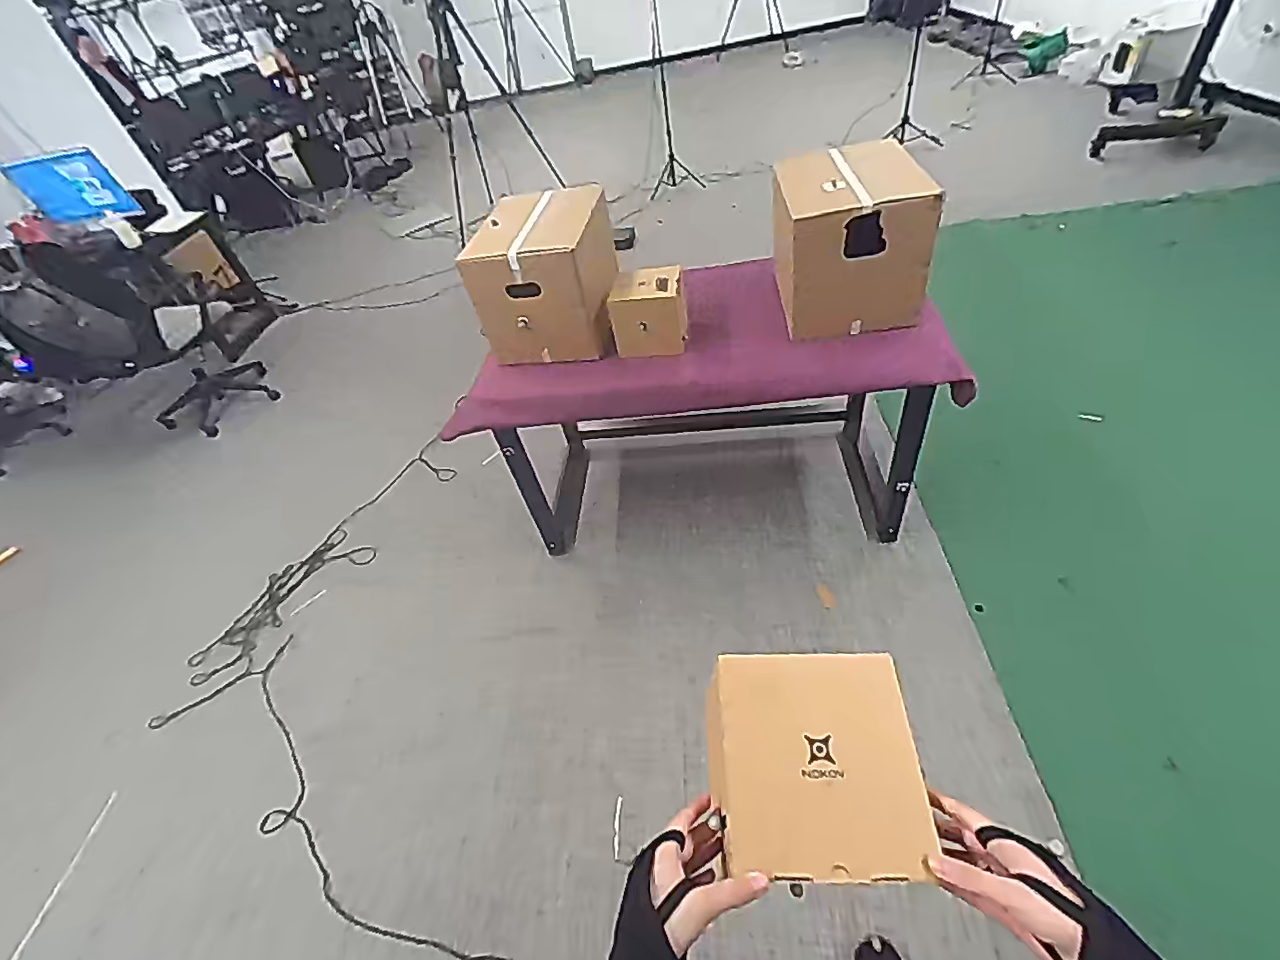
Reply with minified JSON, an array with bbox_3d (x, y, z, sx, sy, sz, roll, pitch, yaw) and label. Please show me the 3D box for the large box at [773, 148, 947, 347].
[{"bbox_3d":[0.526,-0.598,1.389,0.320,0.320,0.408,-6,46,11],"label":"large box"}]
